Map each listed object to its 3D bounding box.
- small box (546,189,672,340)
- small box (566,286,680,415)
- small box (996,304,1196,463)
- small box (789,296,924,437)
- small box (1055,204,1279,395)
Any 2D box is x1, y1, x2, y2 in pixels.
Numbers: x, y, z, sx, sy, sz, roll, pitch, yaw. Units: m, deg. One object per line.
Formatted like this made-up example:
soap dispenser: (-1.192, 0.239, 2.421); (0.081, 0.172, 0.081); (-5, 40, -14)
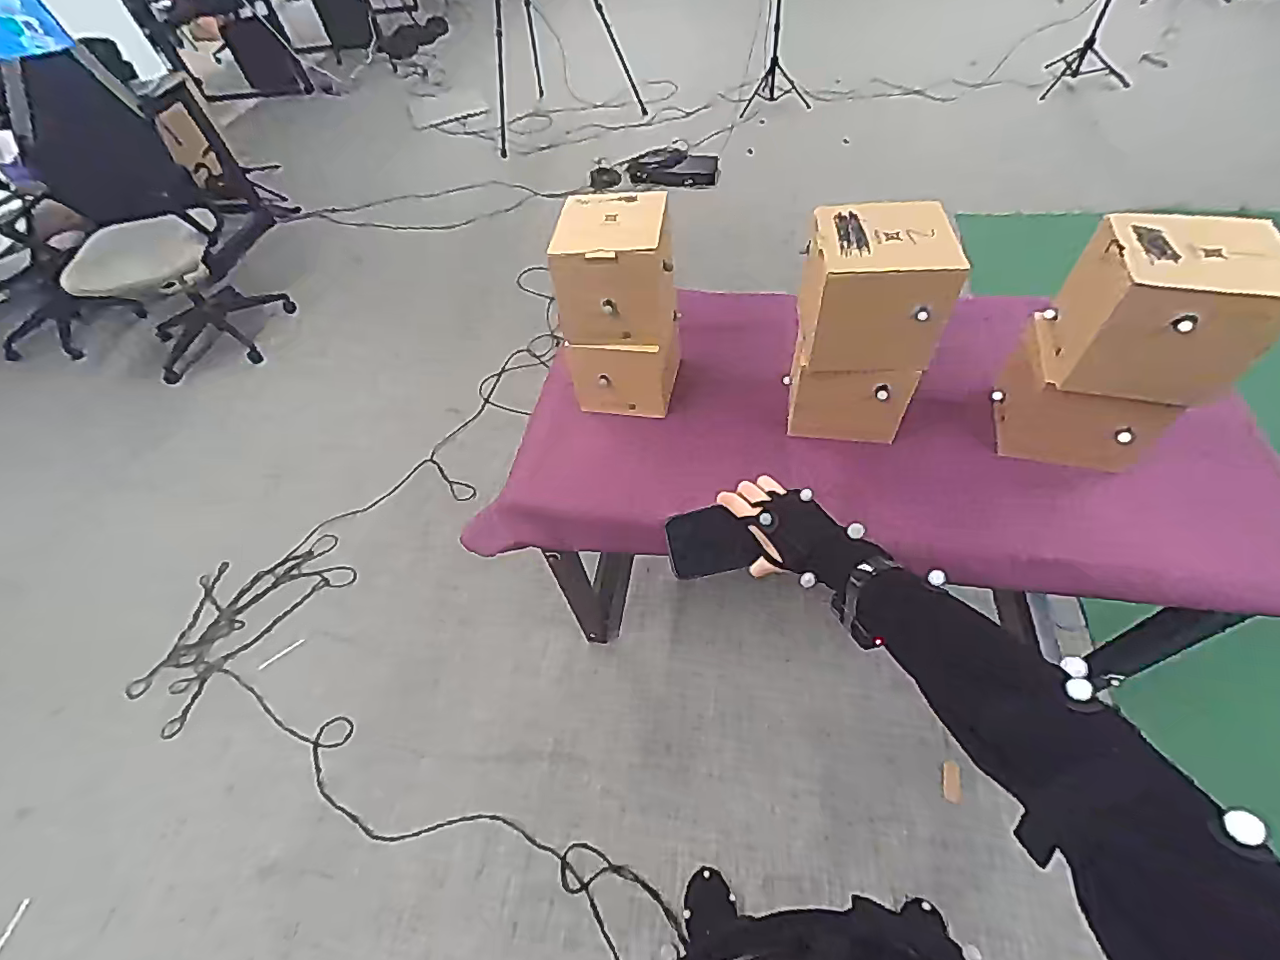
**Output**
small box: (-0.038, -0.344, 0.883); (0.168, 0.176, 0.179); (2, 54, 9)
small box: (-0.021, -0.240, 1.009); (0.168, 0.176, 0.179); (6, 54, 13)
small box: (0.684, -0.146, 0.836); (0.179, 0.176, 0.168); (11, 55, 16)
small box: (0.355, -0.188, 0.914); (0.179, 0.176, 0.168); (5, 54, 12)
small box: (0.671, -0.230, 0.695); (0.179, 0.176, 0.168); (11, 55, 15)
